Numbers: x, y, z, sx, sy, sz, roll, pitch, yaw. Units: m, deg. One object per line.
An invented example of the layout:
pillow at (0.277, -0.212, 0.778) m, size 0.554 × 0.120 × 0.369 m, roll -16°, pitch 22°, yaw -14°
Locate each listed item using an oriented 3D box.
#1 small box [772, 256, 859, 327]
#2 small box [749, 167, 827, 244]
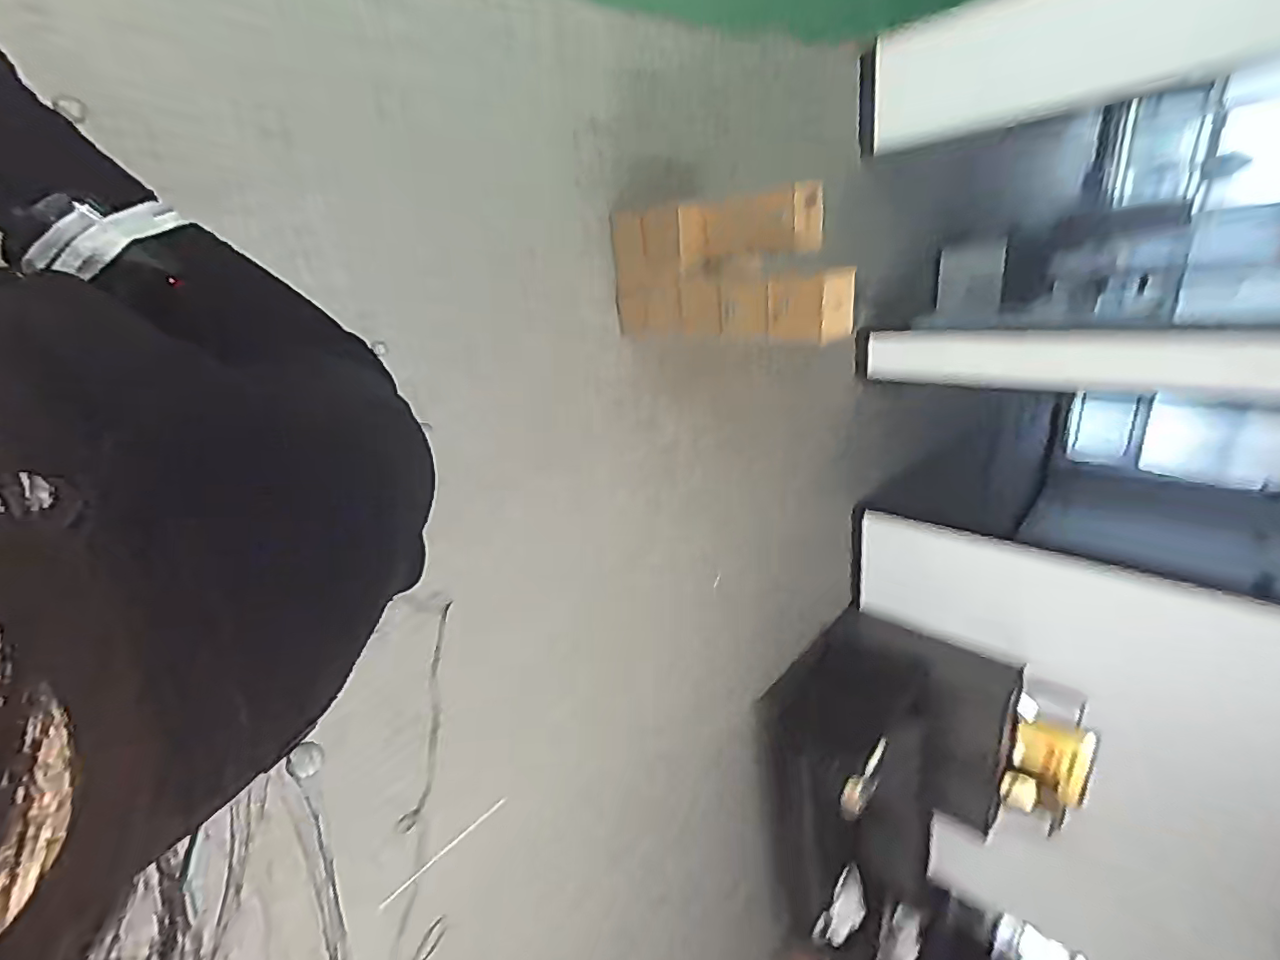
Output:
small box at (0.483, -0.522, 1.493) m, size 0.179 × 0.176 × 0.168 m, roll -26°, pitch 120°, yaw -39°
small box at (0.436, -0.810, 1.600) m, size 0.168 × 0.176 × 0.179 m, roll -28°, pitch 119°, yaw -39°
